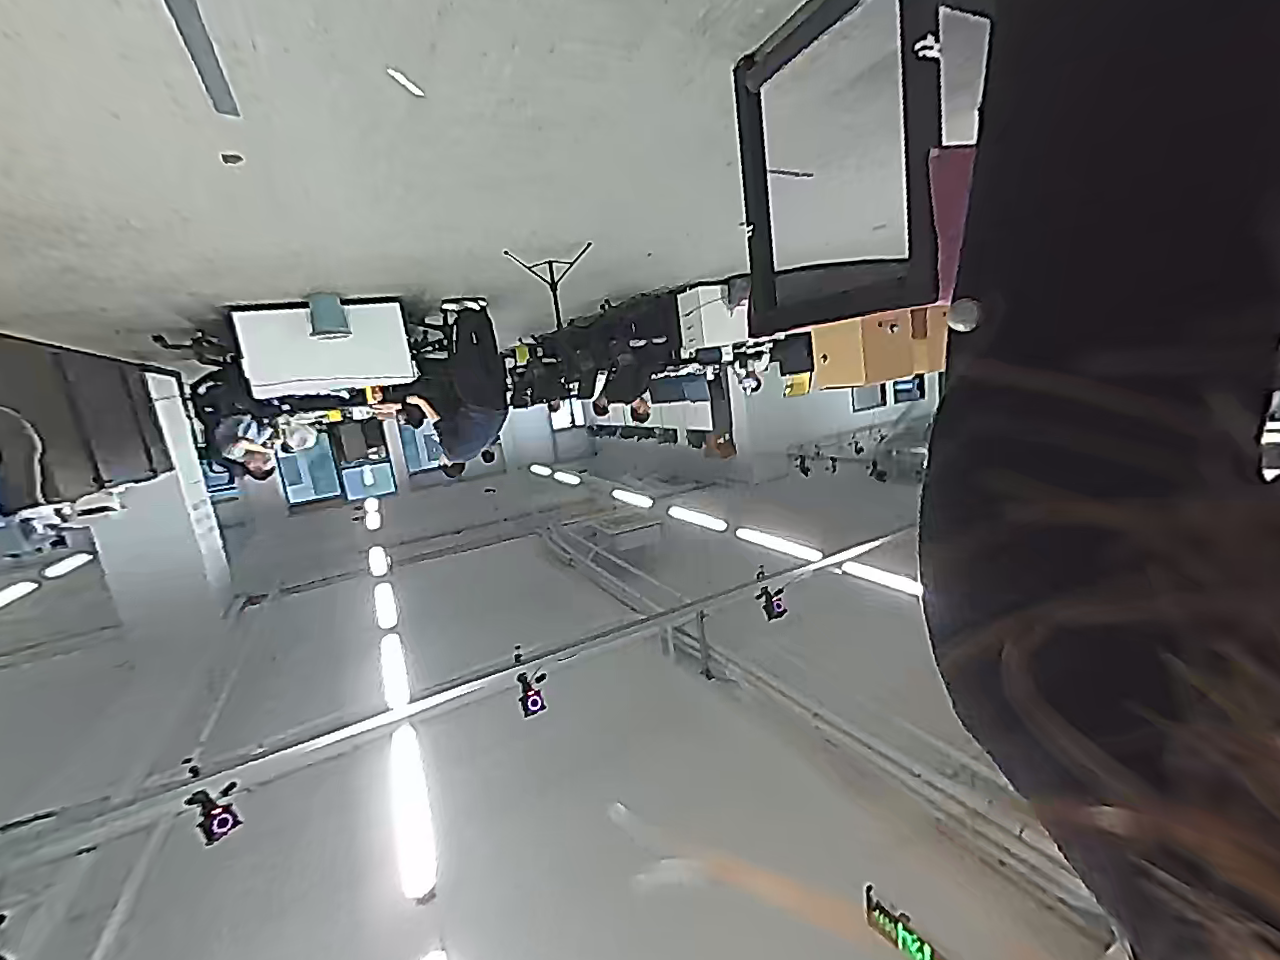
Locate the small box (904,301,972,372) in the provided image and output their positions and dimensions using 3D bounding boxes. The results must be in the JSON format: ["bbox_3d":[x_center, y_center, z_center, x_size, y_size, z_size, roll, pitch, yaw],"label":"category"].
[{"bbox_3d":[0.774,-0.392,1.484,0.168,0.176,0.179,-12,-168,-20],"label":"small box"}]

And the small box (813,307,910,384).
[{"bbox_3d":[0.562,-0.343,1.384,0.168,0.176,0.179,-14,-167,-21],"label":"small box"}]
